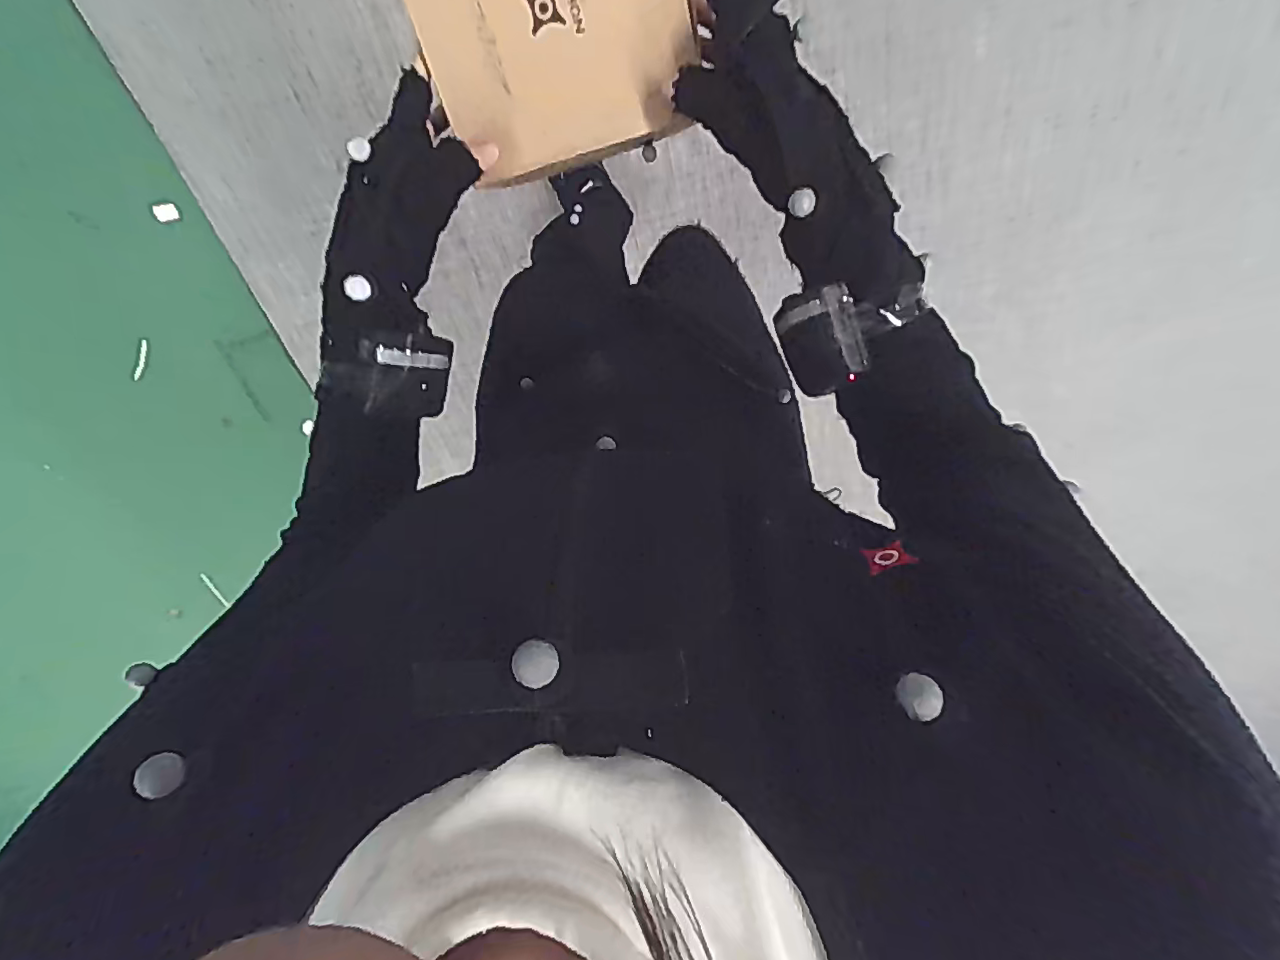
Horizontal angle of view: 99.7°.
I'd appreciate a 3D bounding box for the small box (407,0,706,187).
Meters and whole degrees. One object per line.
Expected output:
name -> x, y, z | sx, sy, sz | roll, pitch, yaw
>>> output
small box -> -0.059, -0.342, 0.415 | 0.179, 0.176, 0.168 | -14, 118, 7
